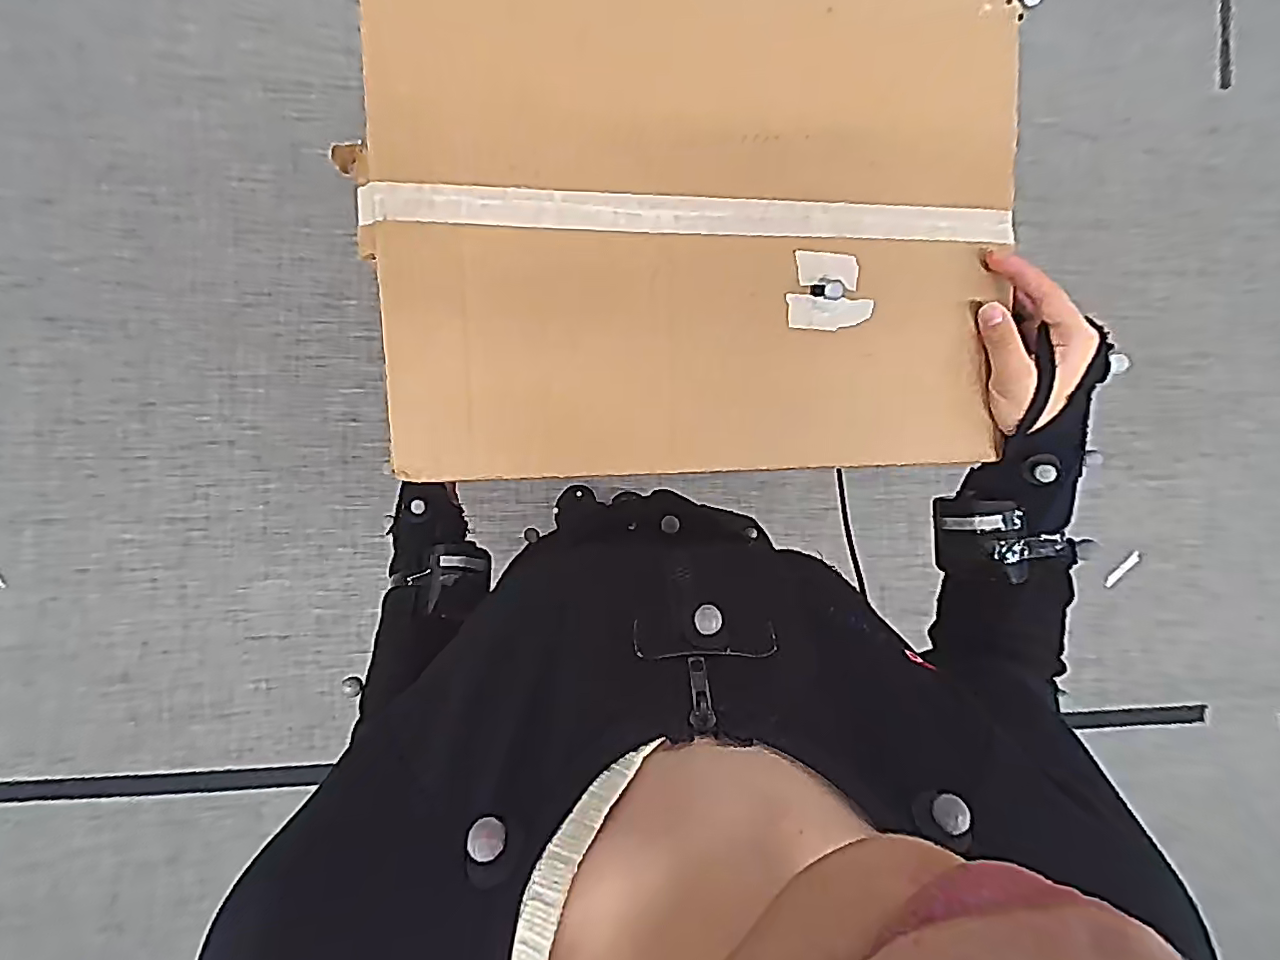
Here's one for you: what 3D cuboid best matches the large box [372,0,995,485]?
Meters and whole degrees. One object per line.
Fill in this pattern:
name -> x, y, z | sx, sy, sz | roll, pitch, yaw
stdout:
large box -> 0.022, -0.173, 0.491 | 0.408, 0.320, 0.320 | -3, 96, -11
